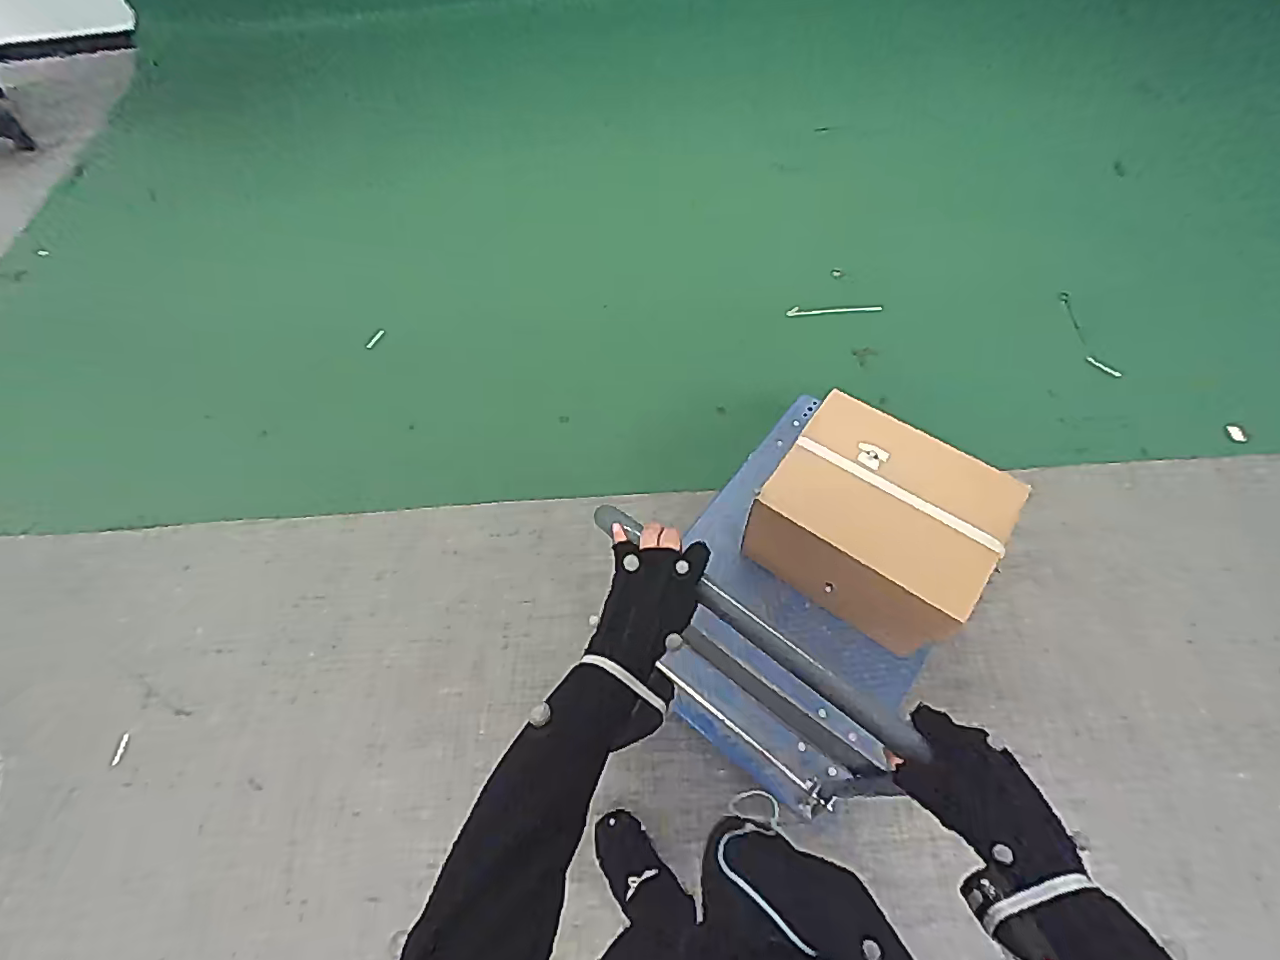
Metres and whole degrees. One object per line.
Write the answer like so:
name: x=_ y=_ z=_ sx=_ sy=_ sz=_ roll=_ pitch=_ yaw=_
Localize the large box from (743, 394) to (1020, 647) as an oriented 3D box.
large box: x=0.478 y=0.093 z=1.152 sx=0.408 sy=0.320 sz=0.320 roll=31 pitch=68 yaw=20
